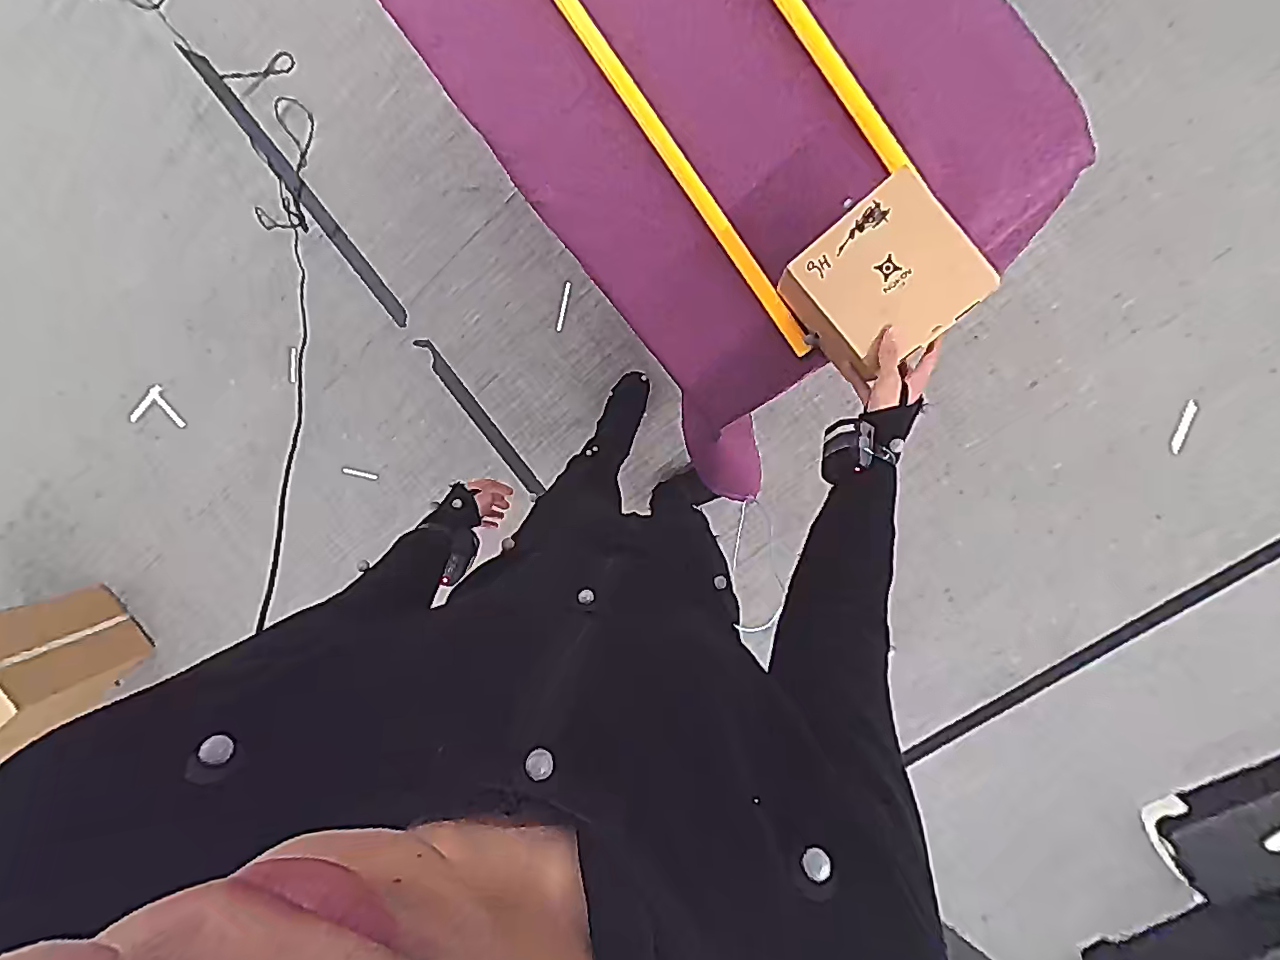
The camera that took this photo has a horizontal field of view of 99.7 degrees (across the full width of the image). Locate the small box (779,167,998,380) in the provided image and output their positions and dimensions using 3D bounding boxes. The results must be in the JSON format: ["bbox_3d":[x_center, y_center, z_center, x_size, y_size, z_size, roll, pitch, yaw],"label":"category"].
[{"bbox_3d":[0.300,-0.248,0.694,0.168,0.176,0.179,-39,92,13],"label":"small box"}]
